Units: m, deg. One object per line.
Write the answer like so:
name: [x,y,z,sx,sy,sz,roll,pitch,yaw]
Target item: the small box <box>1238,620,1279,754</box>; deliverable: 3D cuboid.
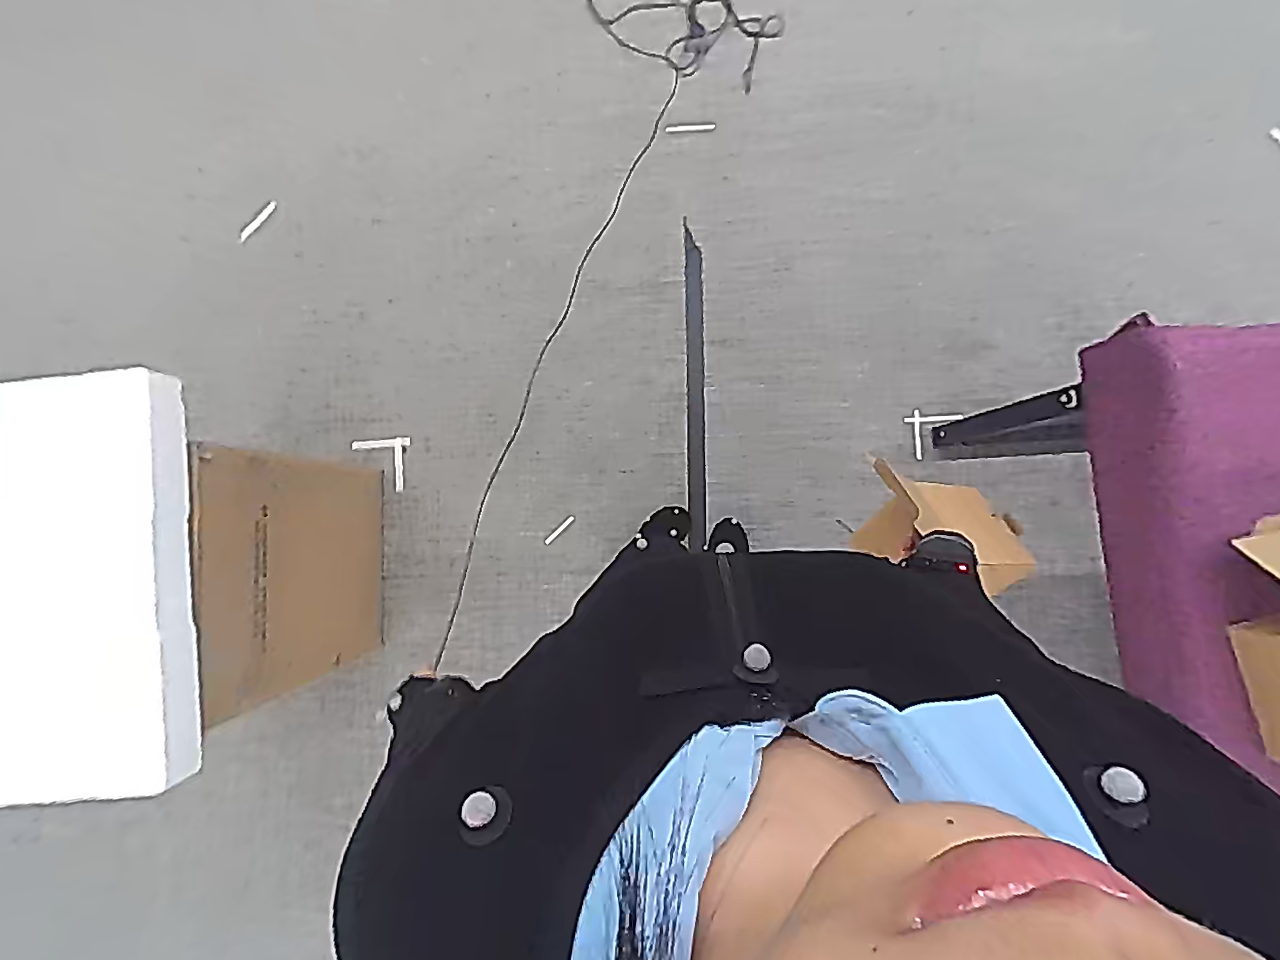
small box: [0.870,0.252,0.624,0.168,0.176,0.179,-12,85,3]
